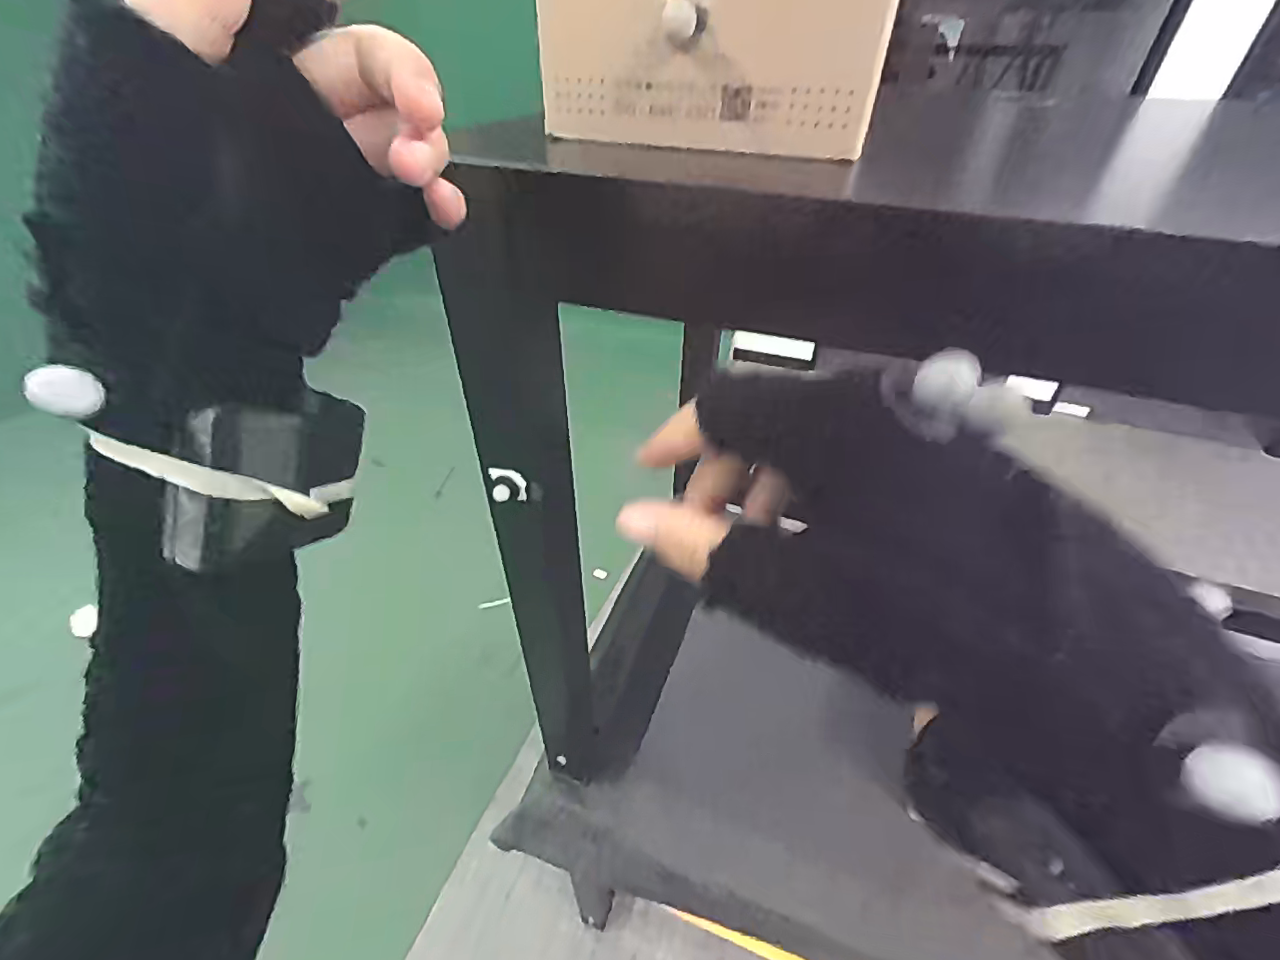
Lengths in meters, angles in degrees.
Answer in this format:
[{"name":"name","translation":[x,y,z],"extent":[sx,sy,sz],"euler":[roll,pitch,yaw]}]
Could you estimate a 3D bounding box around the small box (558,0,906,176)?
[{"name":"small box","translation":[0.059,-0.279,0.286],"extent":[0.168,0.176,0.179],"euler":[14,43,14]}]
